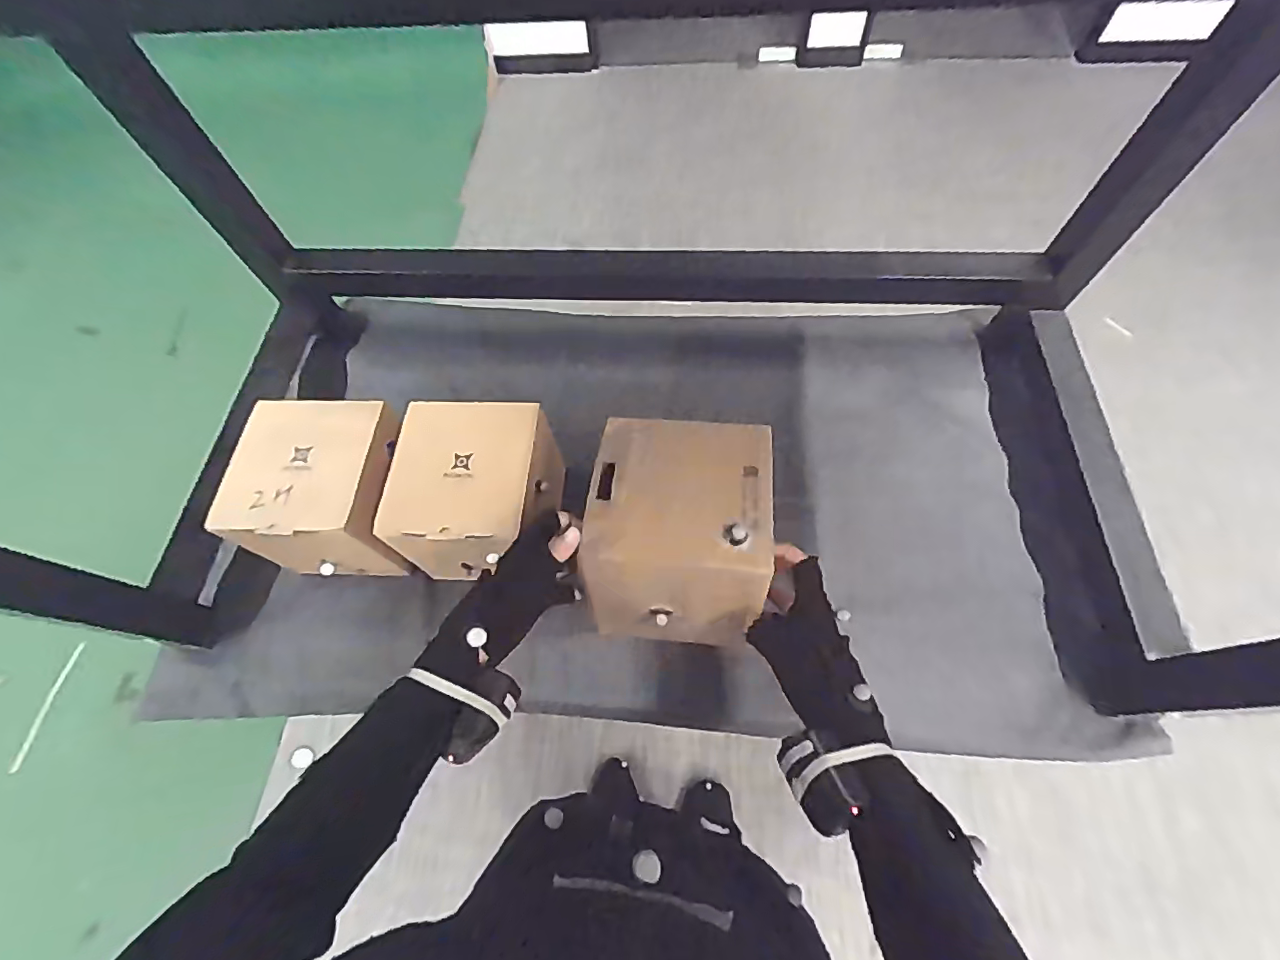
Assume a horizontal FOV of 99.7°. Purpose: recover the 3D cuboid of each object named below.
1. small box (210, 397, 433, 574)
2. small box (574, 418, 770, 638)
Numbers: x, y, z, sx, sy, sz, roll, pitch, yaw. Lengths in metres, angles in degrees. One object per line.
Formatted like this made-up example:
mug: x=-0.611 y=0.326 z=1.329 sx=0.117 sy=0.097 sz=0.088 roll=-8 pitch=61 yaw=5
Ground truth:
small box: x=-0.390 y=0.011 z=0.704 sx=0.168 sy=0.176 sz=0.179 roll=1 pitch=64 yaw=5
small box: x=0.043 y=0.053 z=0.560 sx=0.176 sy=0.179 sz=0.168 roll=3 pitch=55 yaw=9
